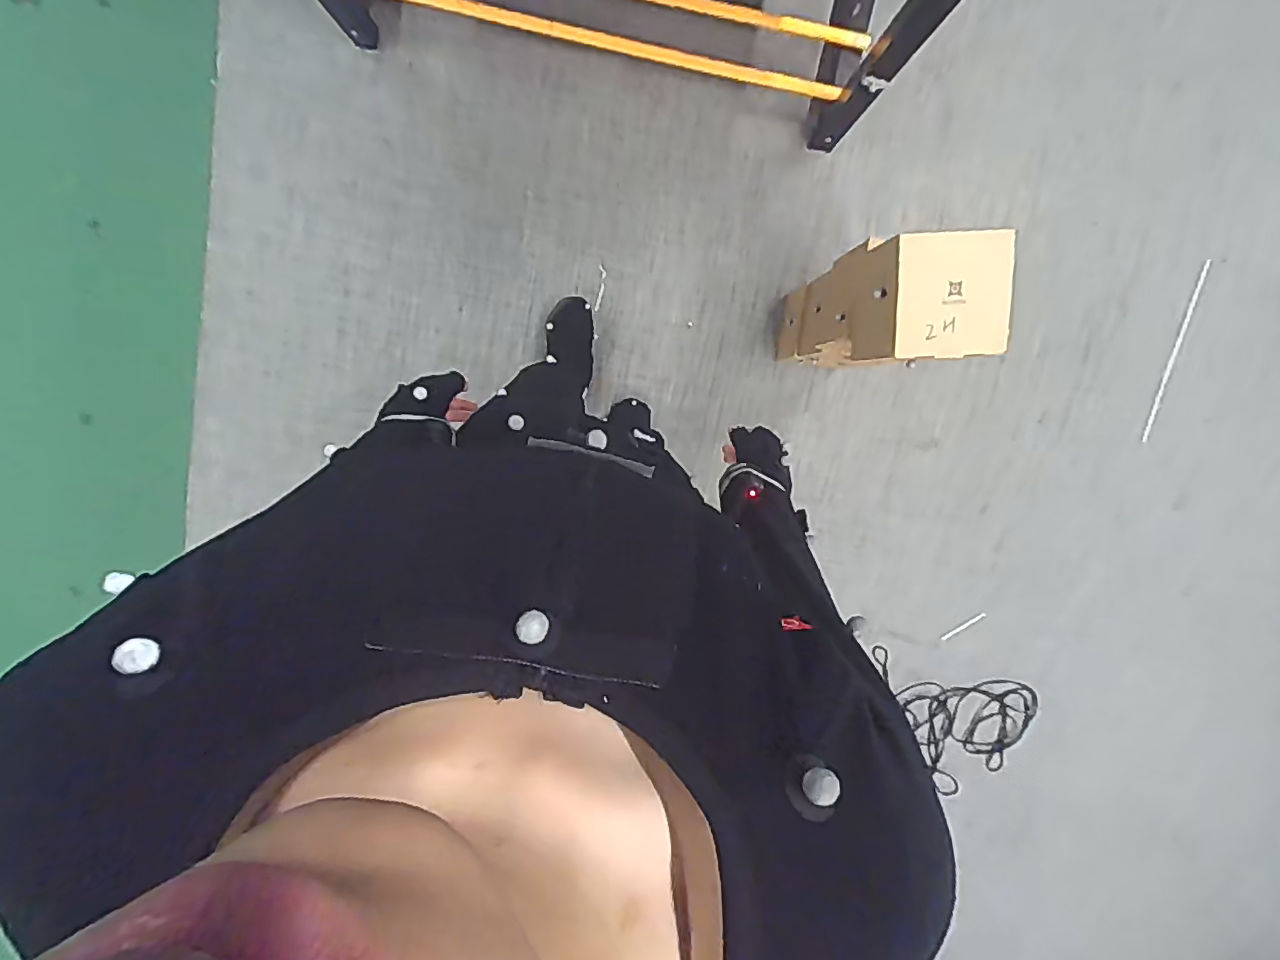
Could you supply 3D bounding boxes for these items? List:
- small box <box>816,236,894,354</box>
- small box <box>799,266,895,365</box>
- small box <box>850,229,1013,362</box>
[{"bbox_3d":[0.447,-0.328,1.009,0.168,0.176,0.179,11,100,-2],"label":"small box"},{"bbox_3d":[0.458,-0.349,1.170,0.168,0.176,0.179,8,99,-2],"label":"small box"},{"bbox_3d":[0.444,-0.280,0.851,0.168,0.176,0.179,-2,101,0],"label":"small box"}]
